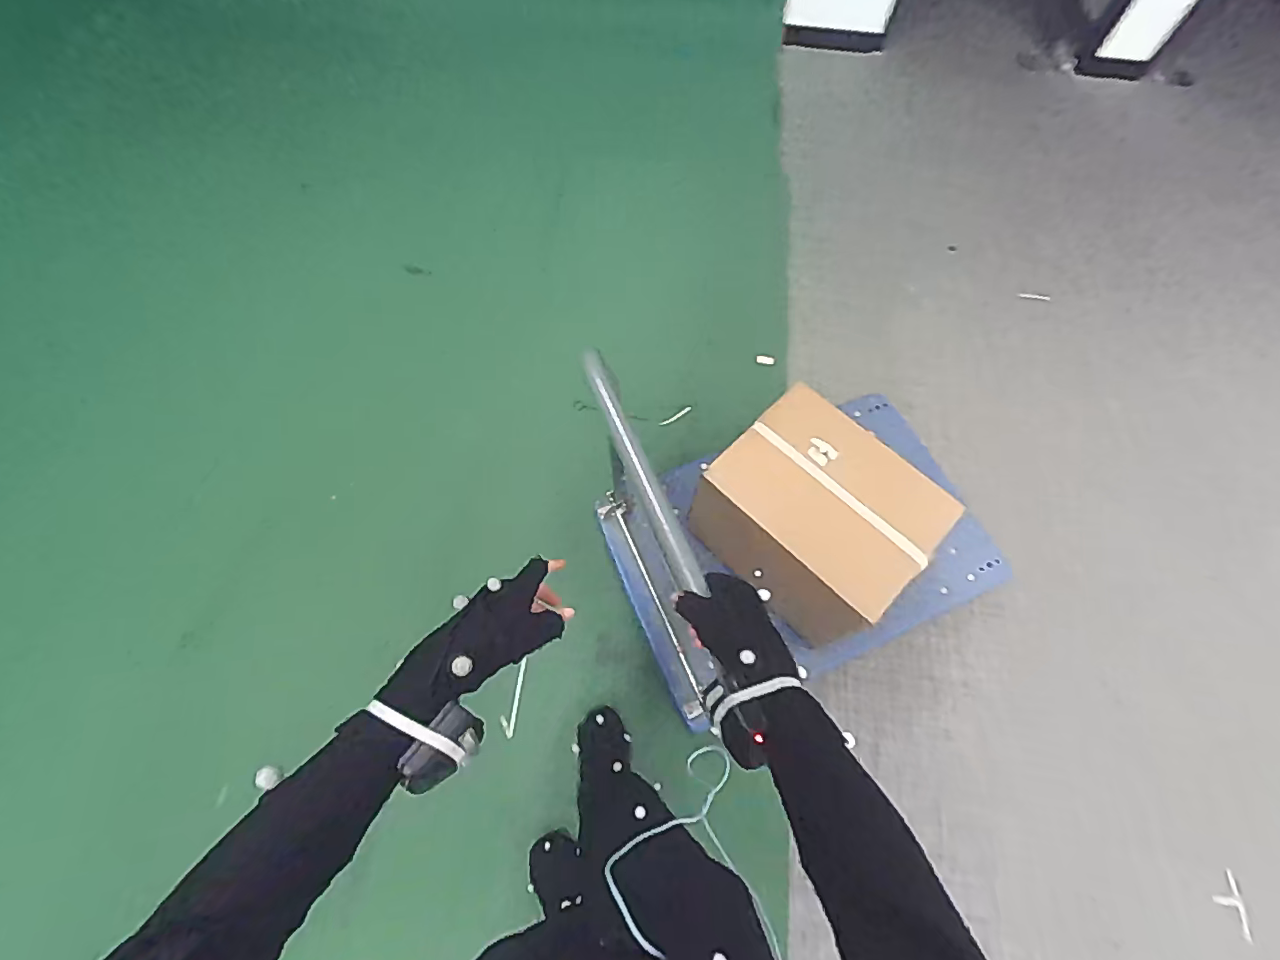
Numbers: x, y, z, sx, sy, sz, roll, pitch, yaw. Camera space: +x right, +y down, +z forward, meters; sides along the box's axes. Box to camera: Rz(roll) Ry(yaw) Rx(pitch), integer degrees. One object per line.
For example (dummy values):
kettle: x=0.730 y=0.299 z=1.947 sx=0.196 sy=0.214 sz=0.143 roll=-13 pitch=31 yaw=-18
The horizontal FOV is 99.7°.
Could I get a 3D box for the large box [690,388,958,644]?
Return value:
large box: x=0.363 y=0.088 z=1.175 sx=0.408 sy=0.320 sz=0.320 roll=42 pitch=71 yaw=17
